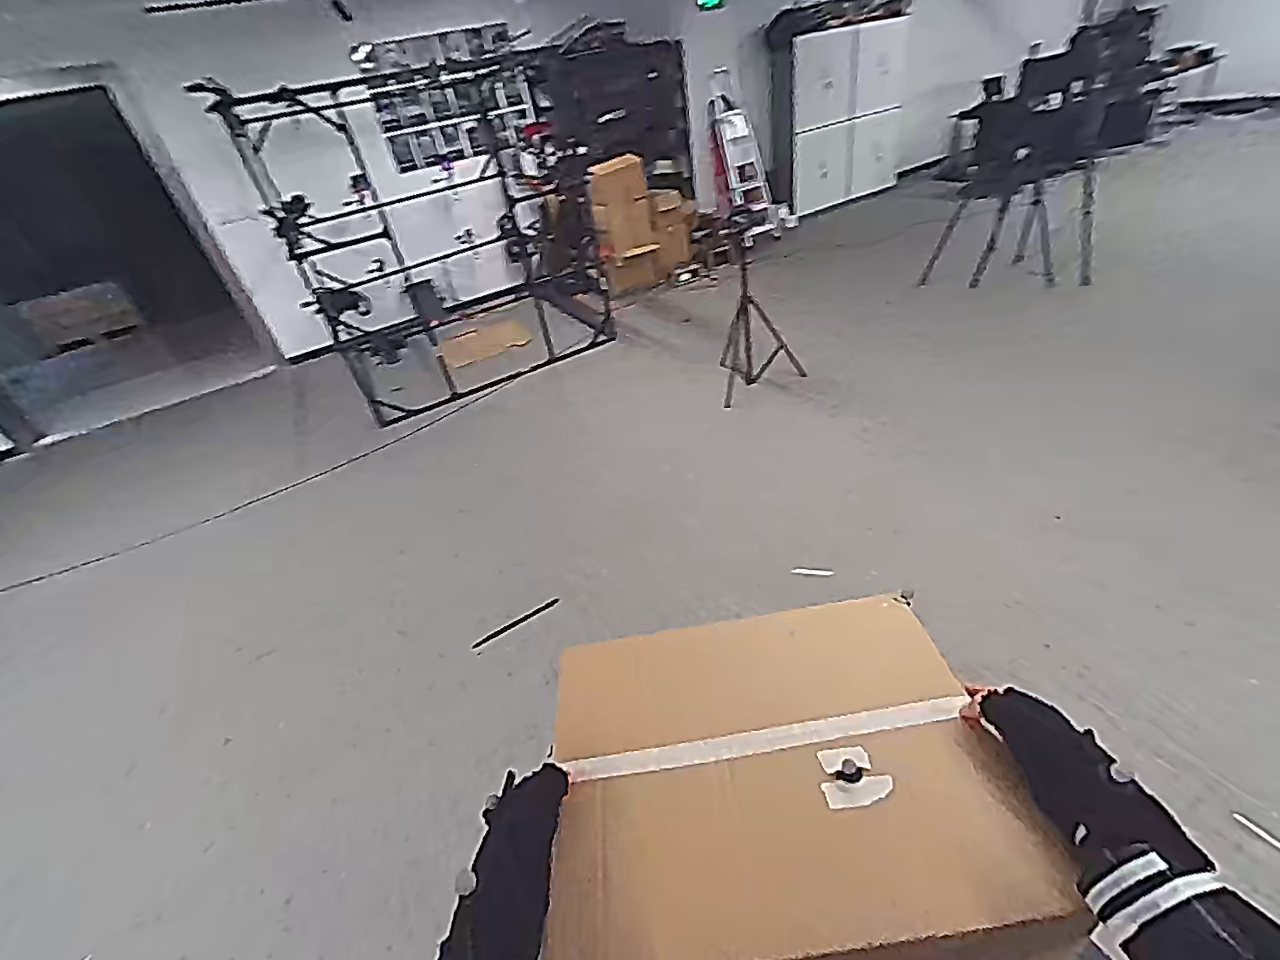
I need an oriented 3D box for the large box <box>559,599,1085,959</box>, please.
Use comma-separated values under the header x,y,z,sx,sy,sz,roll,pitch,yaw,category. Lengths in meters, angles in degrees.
x,y,z,sx,sy,sz,roll,pitch,yaw,category
0.147,0.380,0.601,0.408,0.320,0.320,-10,32,3,large box
